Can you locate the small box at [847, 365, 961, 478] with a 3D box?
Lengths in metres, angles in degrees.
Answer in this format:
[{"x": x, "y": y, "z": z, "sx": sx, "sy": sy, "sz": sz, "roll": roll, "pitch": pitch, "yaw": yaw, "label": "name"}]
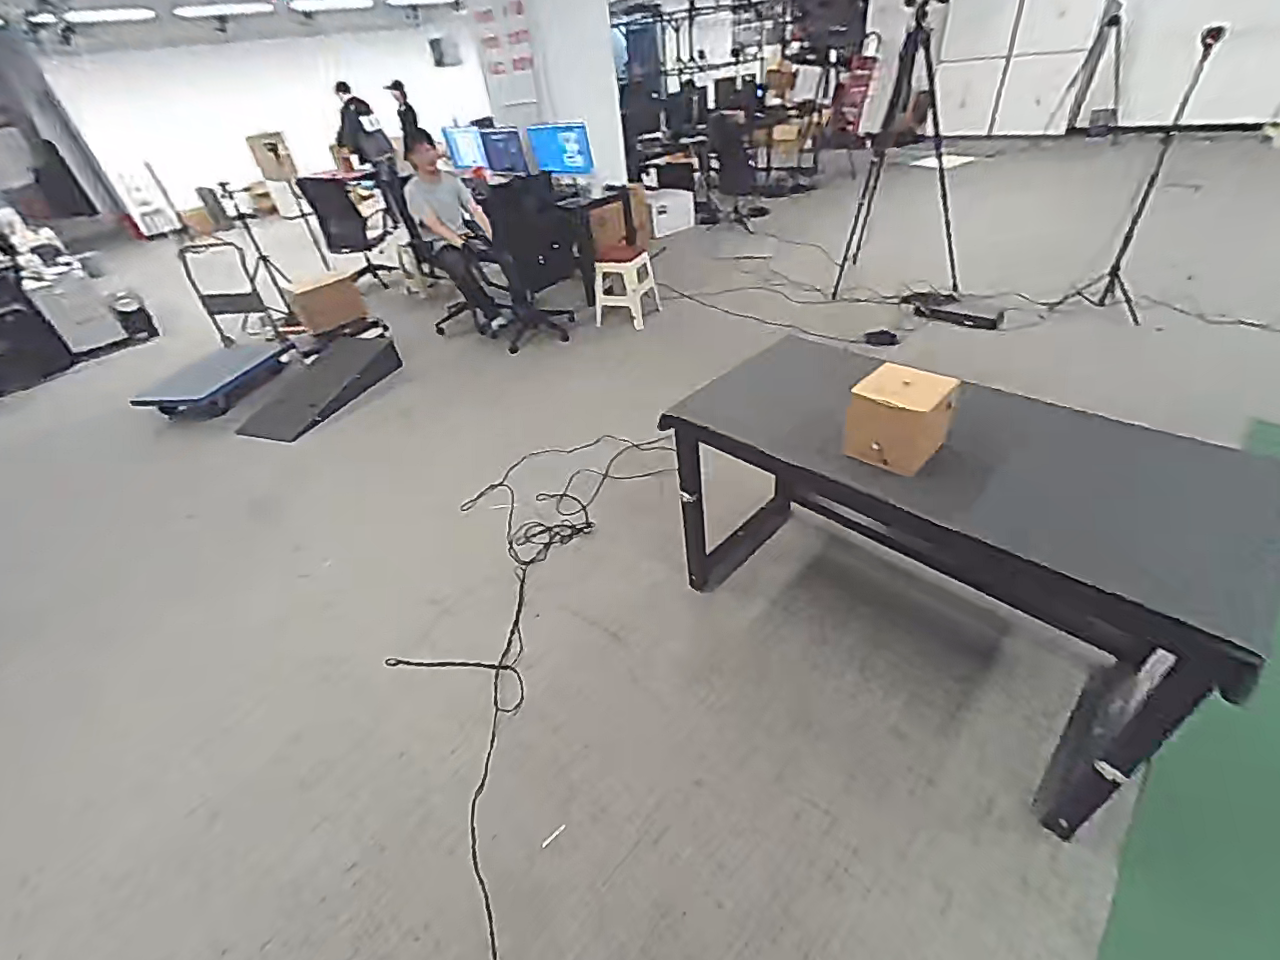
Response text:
[{"x": 0.586, "y": -0.135, "z": 1.220, "sx": 0.179, "sy": 0.176, "sz": 0.168, "roll": -34, "pitch": 44, "yaw": -31, "label": "small box"}]
